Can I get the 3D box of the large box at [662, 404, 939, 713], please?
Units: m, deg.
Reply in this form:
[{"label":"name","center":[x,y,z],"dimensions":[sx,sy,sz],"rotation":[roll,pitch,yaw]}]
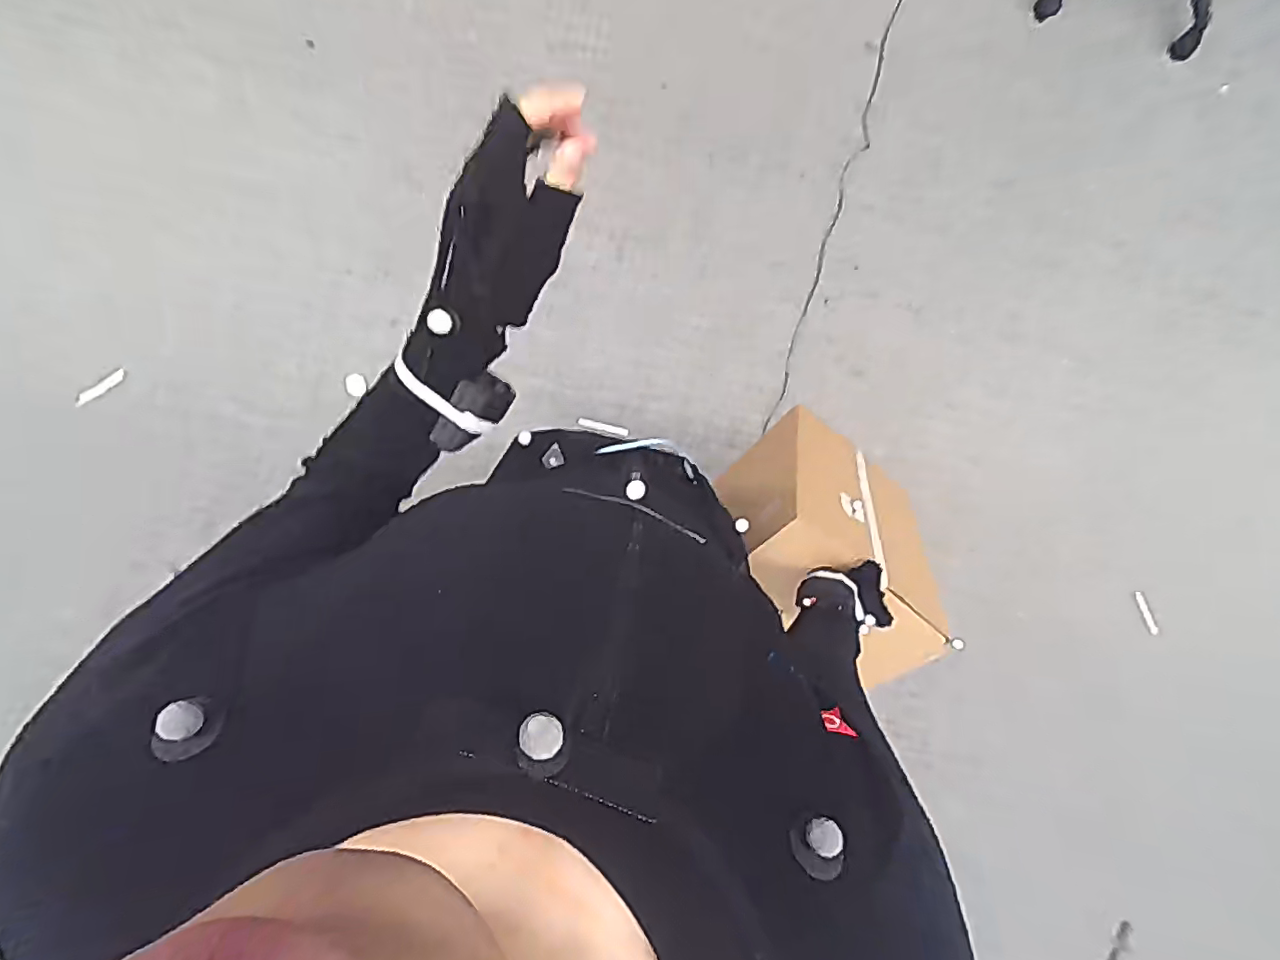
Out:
[{"label":"large box","center":[0.283,0.133,1.008],"dimensions":[0.320,0.408,0.320],"rotation":[38,125,-8]}]
